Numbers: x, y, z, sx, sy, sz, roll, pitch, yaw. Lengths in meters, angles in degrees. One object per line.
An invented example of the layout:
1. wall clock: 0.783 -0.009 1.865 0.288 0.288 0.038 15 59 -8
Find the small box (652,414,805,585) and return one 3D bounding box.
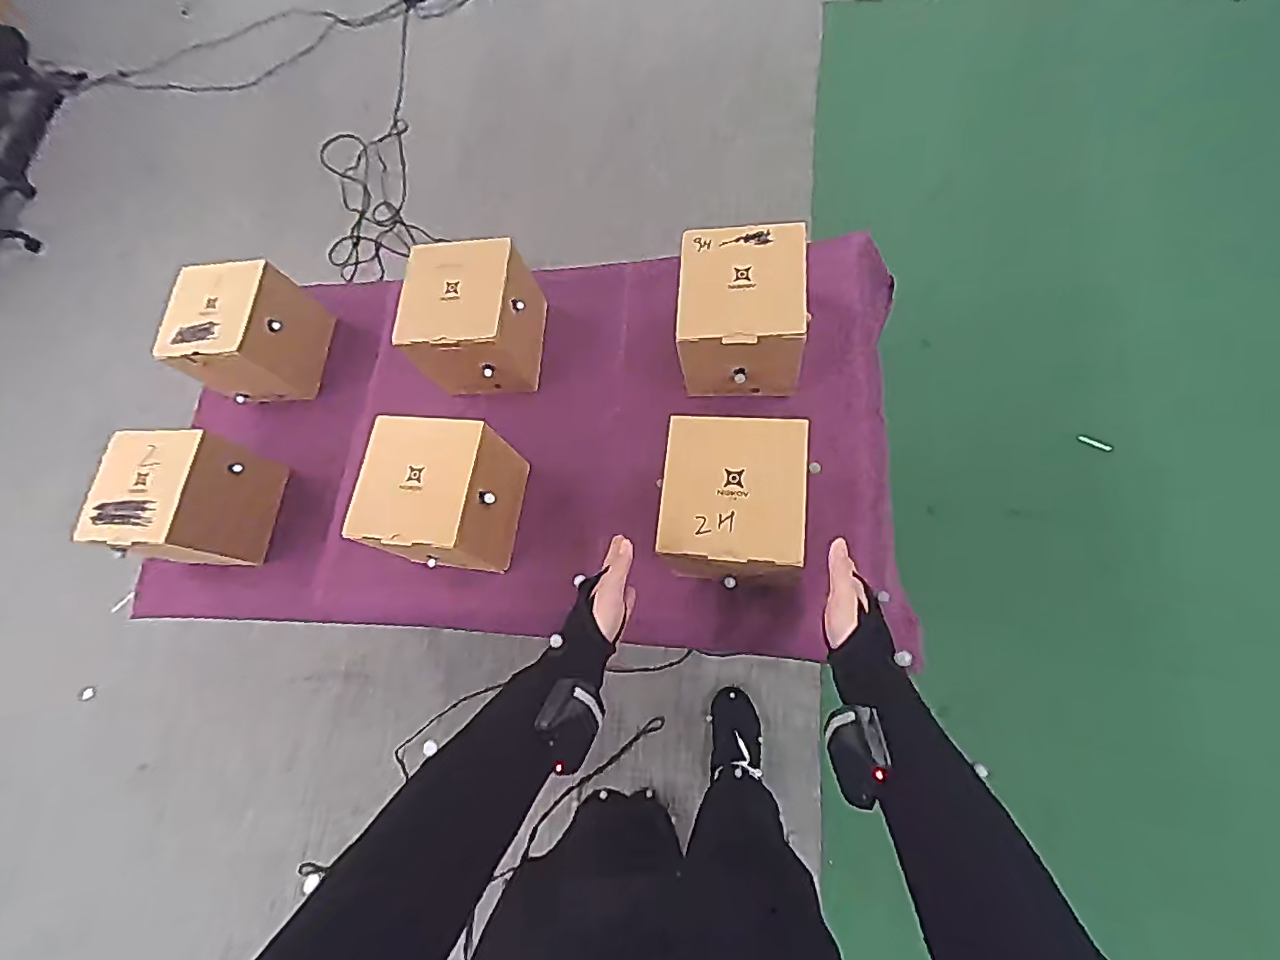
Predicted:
1. small box: 0.118 0.030 0.699 0.168 0.176 0.179 3 73 14

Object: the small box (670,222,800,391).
1. small box: 0.141 -0.237 0.783 0.168 0.176 0.179 1 74 12

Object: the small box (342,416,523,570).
1. small box: -0.285 0.024 0.787 0.168 0.176 0.179 4 73 12

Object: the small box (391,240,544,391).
1. small box: -0.265 -0.253 0.872 0.168 0.176 0.179 0 73 11

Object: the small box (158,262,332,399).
1. small box: -0.680 -0.250 0.952 0.168 0.176 0.179 -2 73 11
